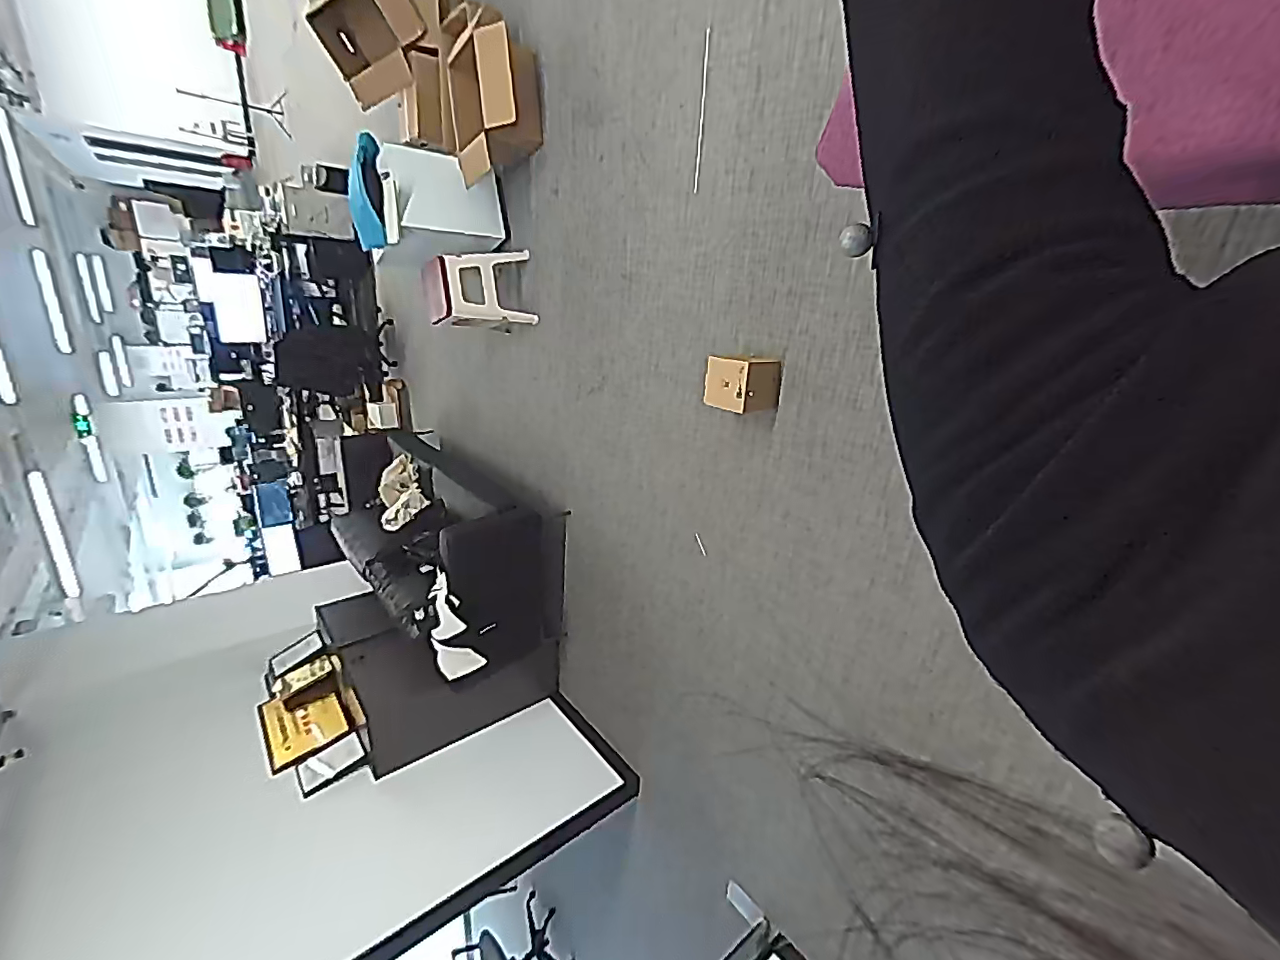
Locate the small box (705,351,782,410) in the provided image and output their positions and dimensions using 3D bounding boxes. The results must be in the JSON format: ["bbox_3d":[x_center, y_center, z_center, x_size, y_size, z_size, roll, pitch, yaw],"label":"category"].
[{"bbox_3d":[0.346,-0.337,1.810,0.179,0.176,0.168,25,118,46],"label":"small box"}]
